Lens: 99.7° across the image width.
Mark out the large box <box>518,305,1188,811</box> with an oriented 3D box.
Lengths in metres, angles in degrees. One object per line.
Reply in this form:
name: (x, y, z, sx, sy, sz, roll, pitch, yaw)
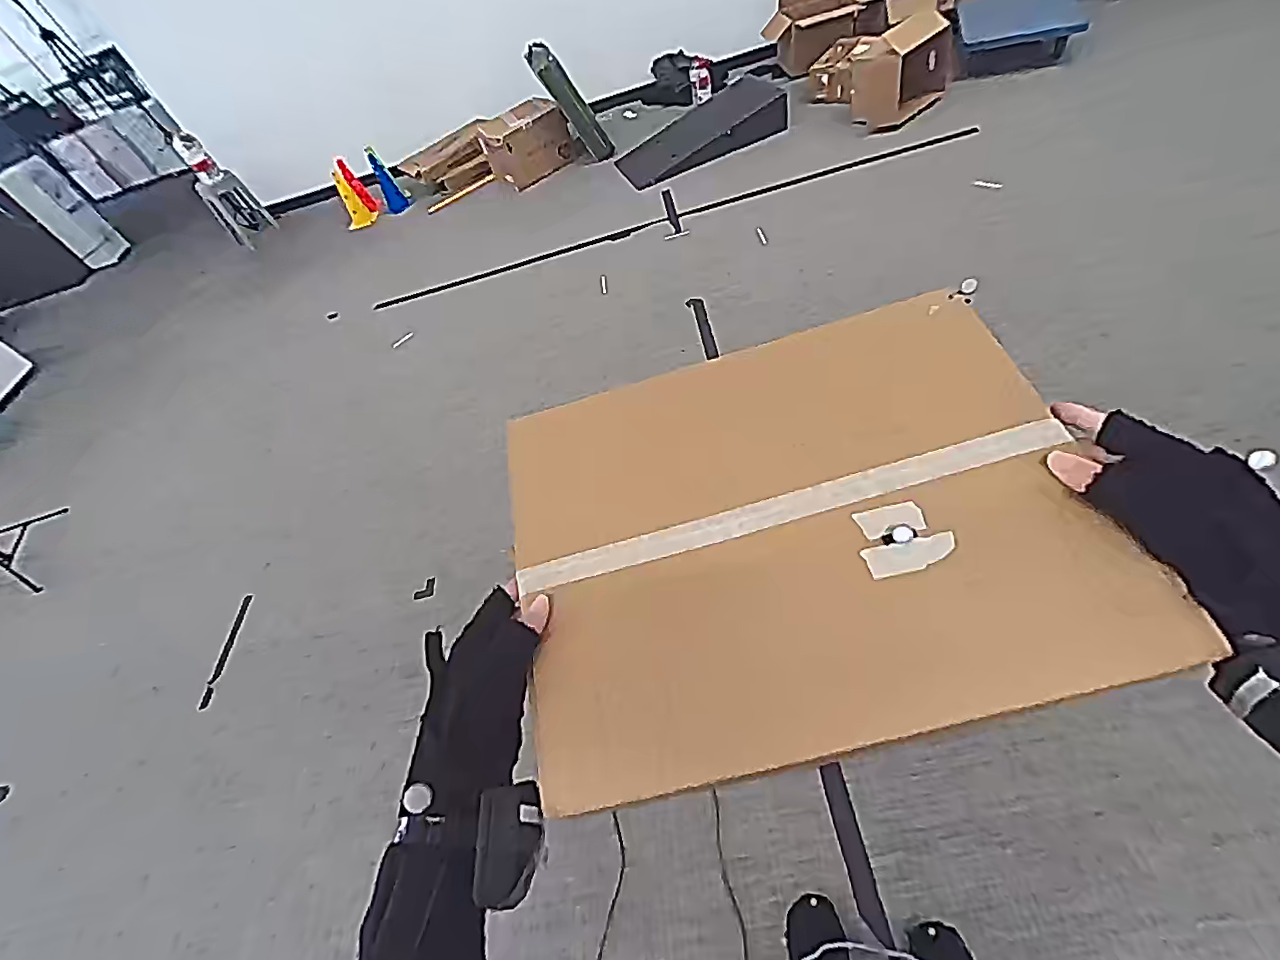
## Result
large box: (0.136, 0.100, 0.535, 0.408, 0.320, 0.320, -16, 59, 4)
